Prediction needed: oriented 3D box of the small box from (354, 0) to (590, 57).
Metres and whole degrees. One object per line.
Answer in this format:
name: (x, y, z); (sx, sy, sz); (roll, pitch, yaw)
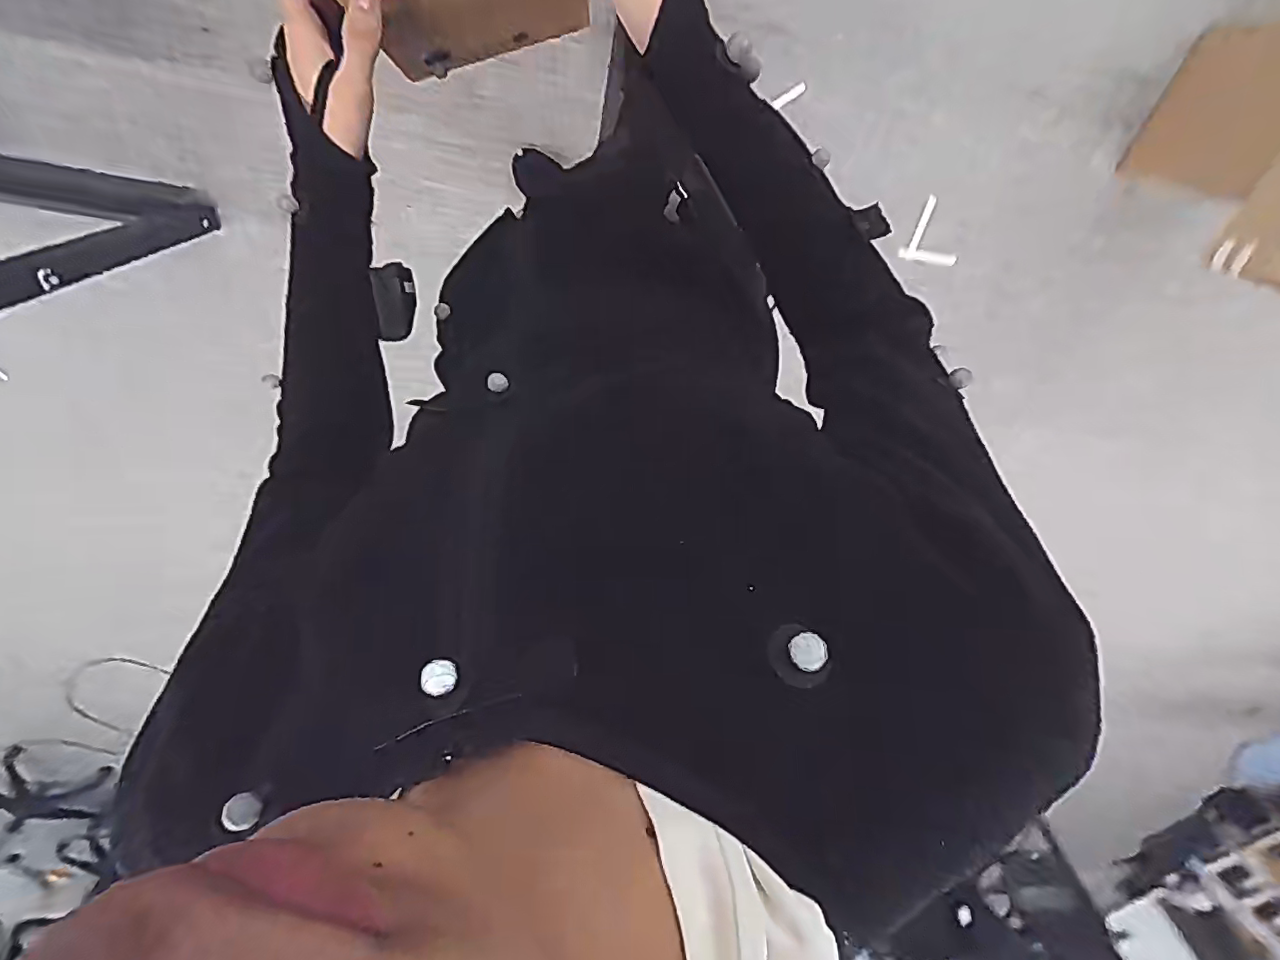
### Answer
small box: (-0.134, -0.422, 0.358); (0.168, 0.176, 0.179); (-14, 107, 2)
